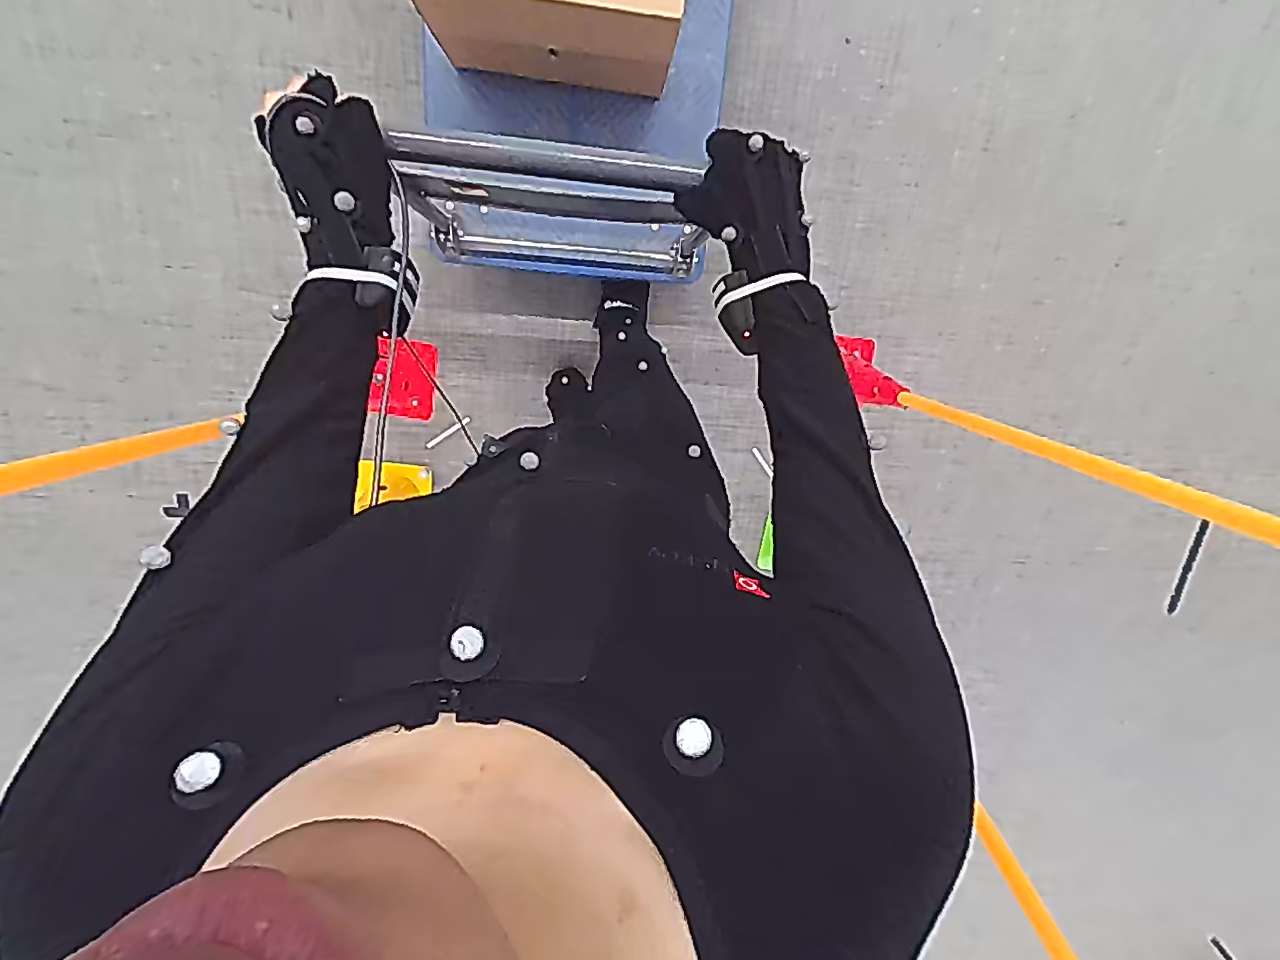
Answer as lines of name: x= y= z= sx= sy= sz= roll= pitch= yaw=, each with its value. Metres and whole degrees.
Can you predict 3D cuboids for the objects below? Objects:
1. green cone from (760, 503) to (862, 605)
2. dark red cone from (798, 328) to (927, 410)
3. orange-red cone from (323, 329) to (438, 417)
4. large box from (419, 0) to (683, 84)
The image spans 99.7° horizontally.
green cone: x=0.471 y=0.219 z=1.410 sx=0.202 sy=0.368 sz=0.200 roll=6 pitch=107 yaw=-7
dark red cone: x=0.530 y=-0.234 z=1.247 sx=0.201 sy=0.394 sz=0.202 roll=2 pitch=108 yaw=-6
orange-red cone: x=-0.604 y=-0.217 z=1.201 sx=0.198 sy=0.360 sz=0.199 roll=10 pitch=106 yaw=-8
large box: x=-0.130 y=-0.881 z=0.860 sx=0.408 sy=0.320 sz=0.320 roll=4 pitch=108 yaw=-5
